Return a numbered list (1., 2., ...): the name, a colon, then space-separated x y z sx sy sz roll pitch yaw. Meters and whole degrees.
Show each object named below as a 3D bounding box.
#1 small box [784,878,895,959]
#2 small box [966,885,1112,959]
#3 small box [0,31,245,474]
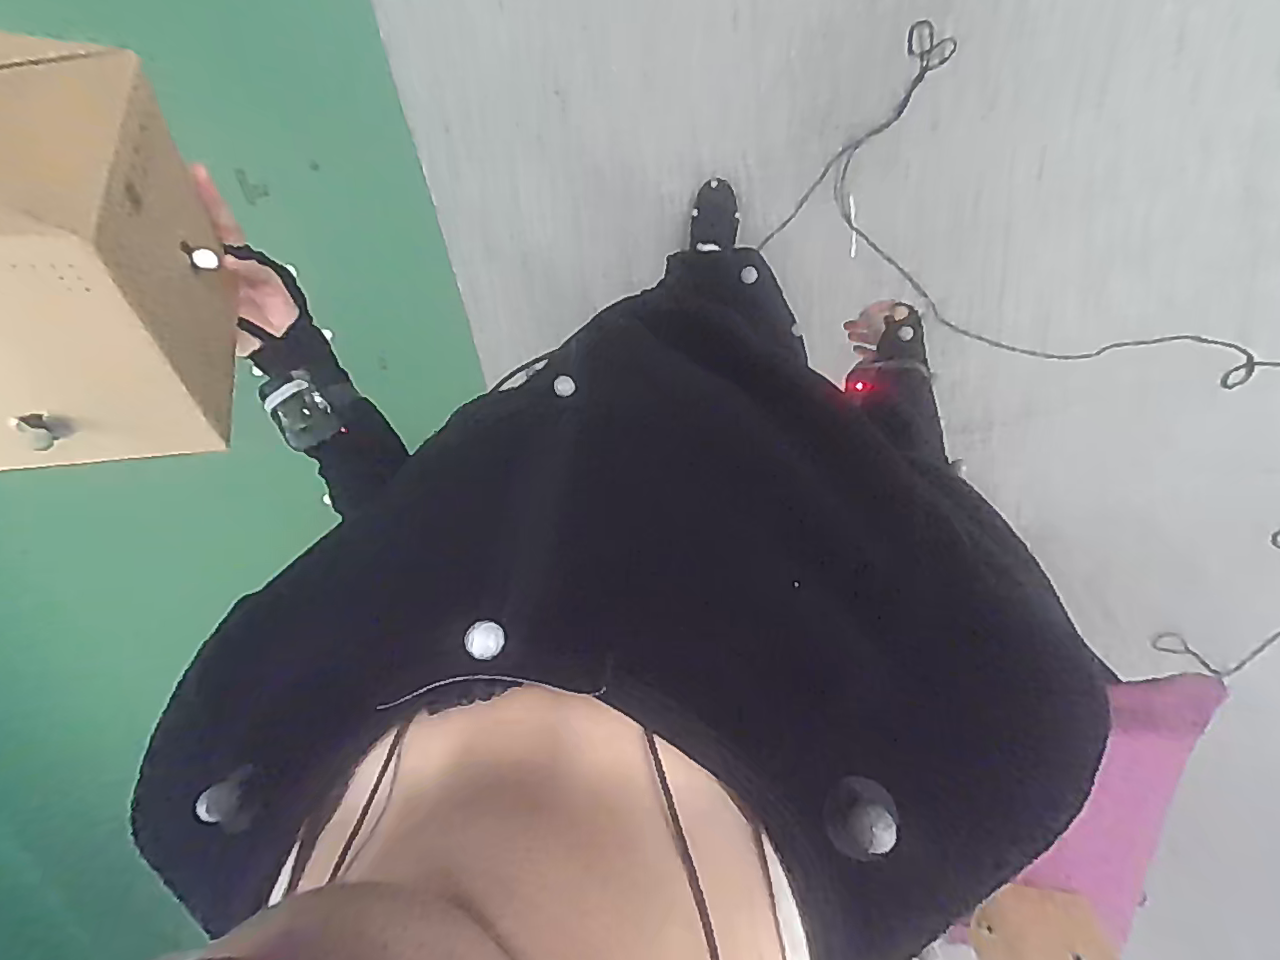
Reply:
1. small box: 0.387 0.910 1.051 0.179 0.176 0.168 -7 110 8
2. small box: 0.754 0.899 1.008 0.179 0.176 0.168 6 112 5
3. small box: -0.351 -0.120 0.298 0.179 0.168 0.176 -8 152 -22
